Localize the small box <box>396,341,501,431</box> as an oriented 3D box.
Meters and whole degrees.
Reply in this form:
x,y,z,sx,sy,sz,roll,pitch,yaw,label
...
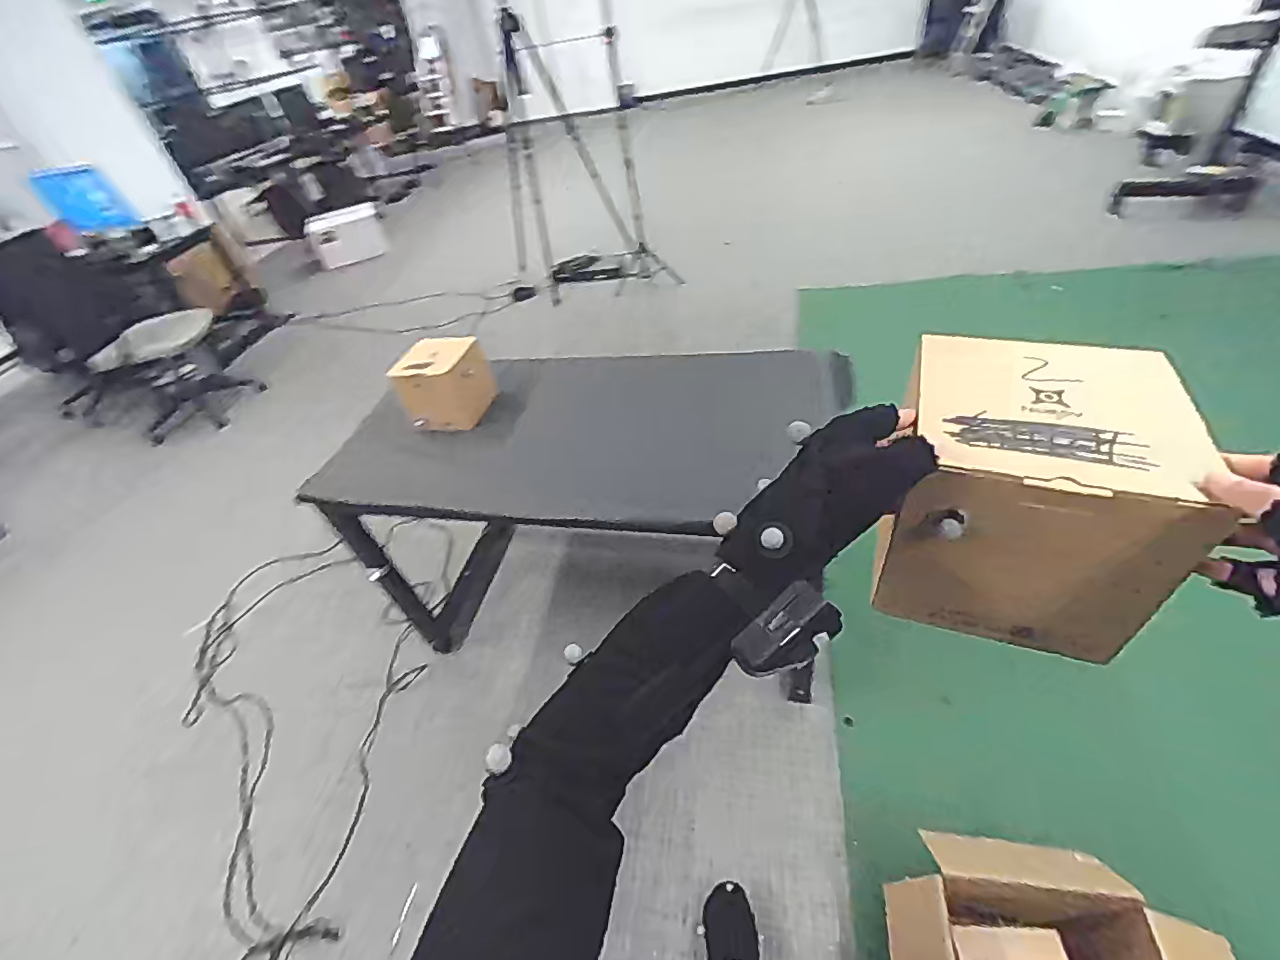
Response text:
x,y,z,sx,sy,sz,roll,pitch,yaw,label
-0.482,-0.240,1.398,0.168,0.176,0.179,2,43,15,small box
